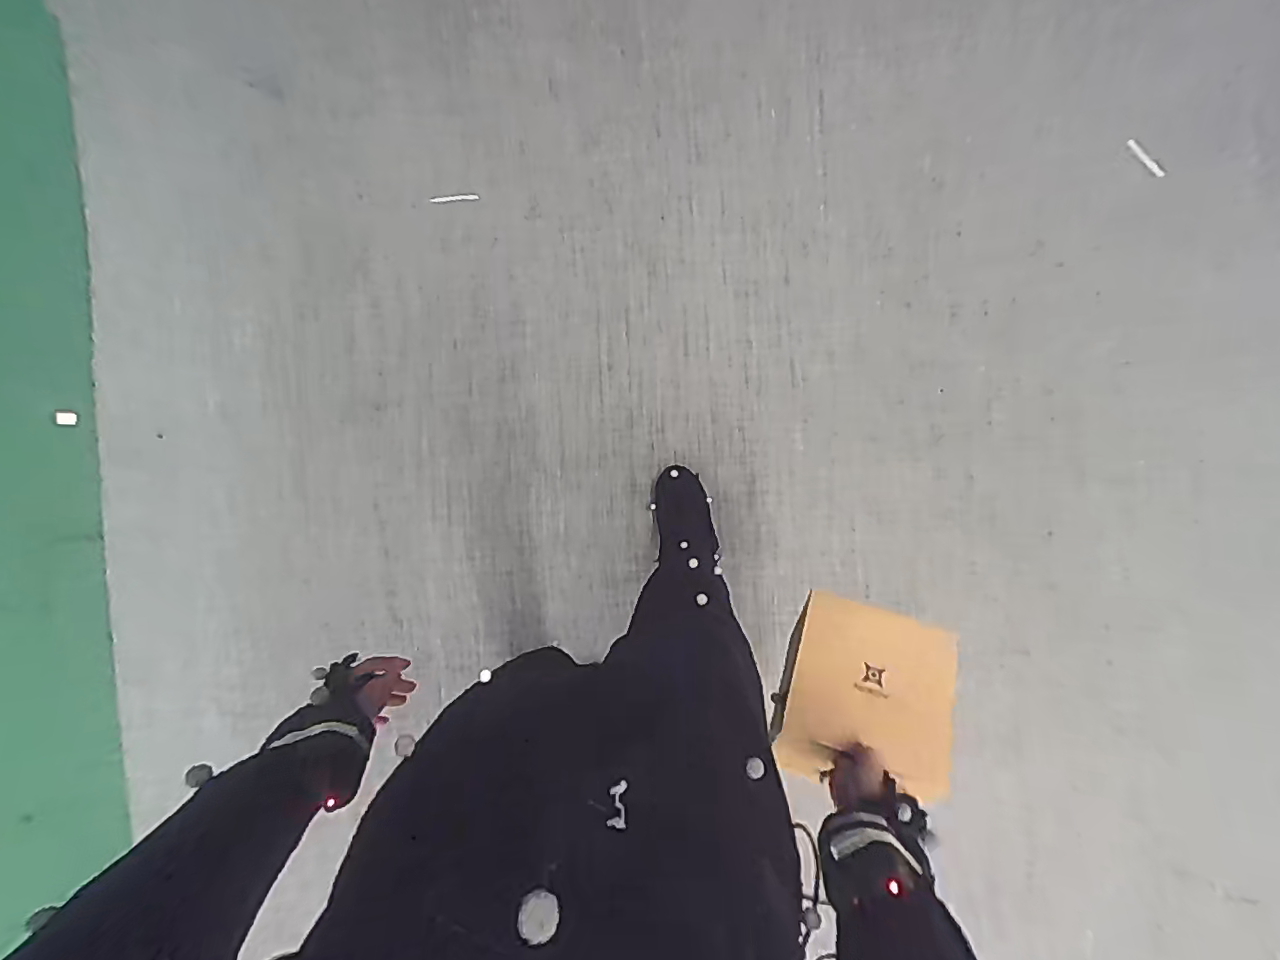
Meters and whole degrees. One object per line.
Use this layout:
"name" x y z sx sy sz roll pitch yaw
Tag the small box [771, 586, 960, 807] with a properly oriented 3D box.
"small box" 0.259 0.259 0.645 0.168 0.176 0.179 14 56 16
